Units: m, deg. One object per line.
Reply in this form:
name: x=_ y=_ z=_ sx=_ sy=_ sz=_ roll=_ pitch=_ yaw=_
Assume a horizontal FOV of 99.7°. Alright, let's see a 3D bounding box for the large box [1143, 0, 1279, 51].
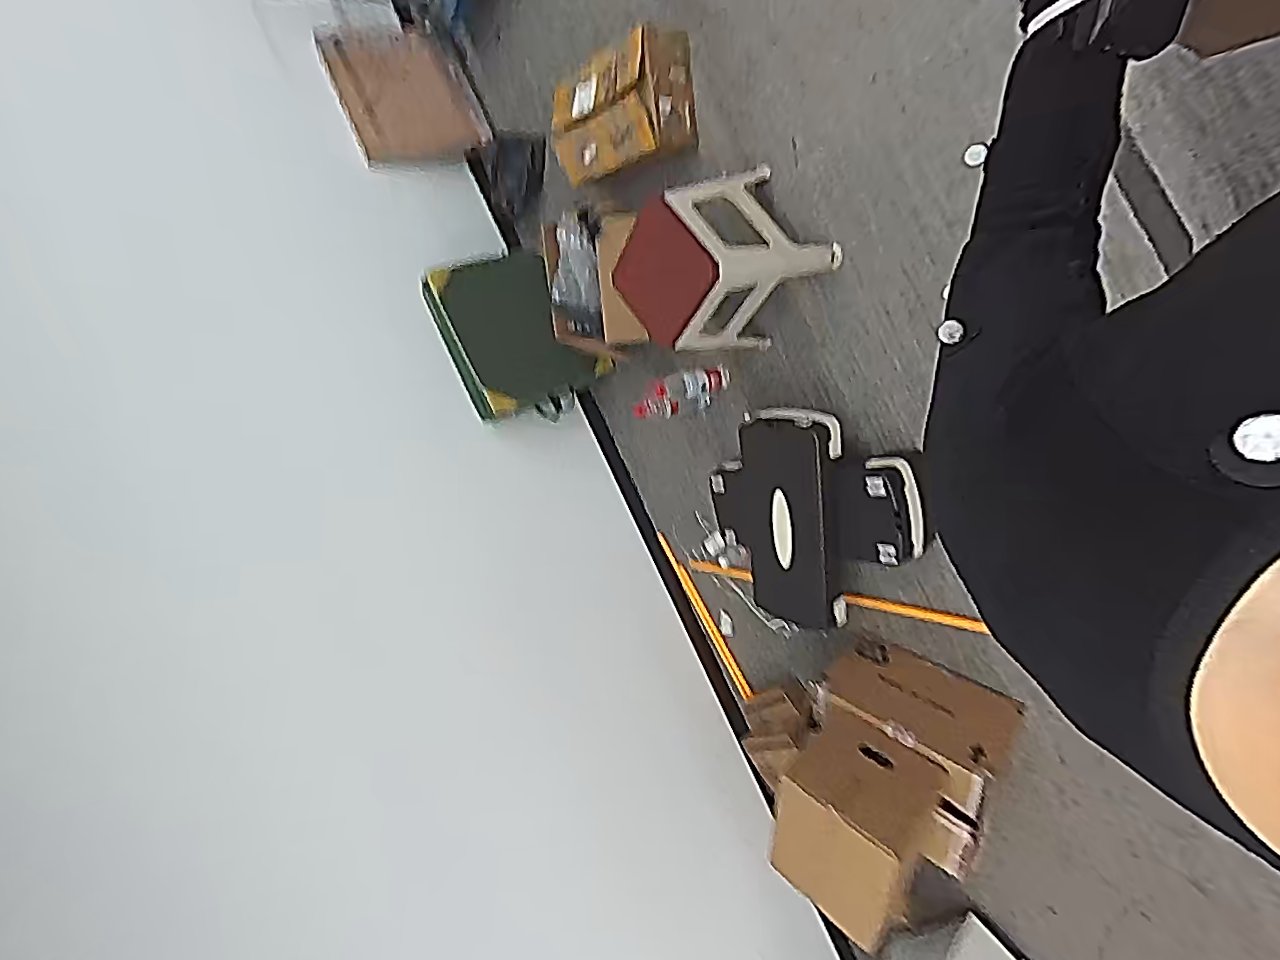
large box: x=0.552 y=-0.489 z=0.261 sx=0.408 sy=0.320 sz=0.320 roll=14 pitch=122 yaw=48
